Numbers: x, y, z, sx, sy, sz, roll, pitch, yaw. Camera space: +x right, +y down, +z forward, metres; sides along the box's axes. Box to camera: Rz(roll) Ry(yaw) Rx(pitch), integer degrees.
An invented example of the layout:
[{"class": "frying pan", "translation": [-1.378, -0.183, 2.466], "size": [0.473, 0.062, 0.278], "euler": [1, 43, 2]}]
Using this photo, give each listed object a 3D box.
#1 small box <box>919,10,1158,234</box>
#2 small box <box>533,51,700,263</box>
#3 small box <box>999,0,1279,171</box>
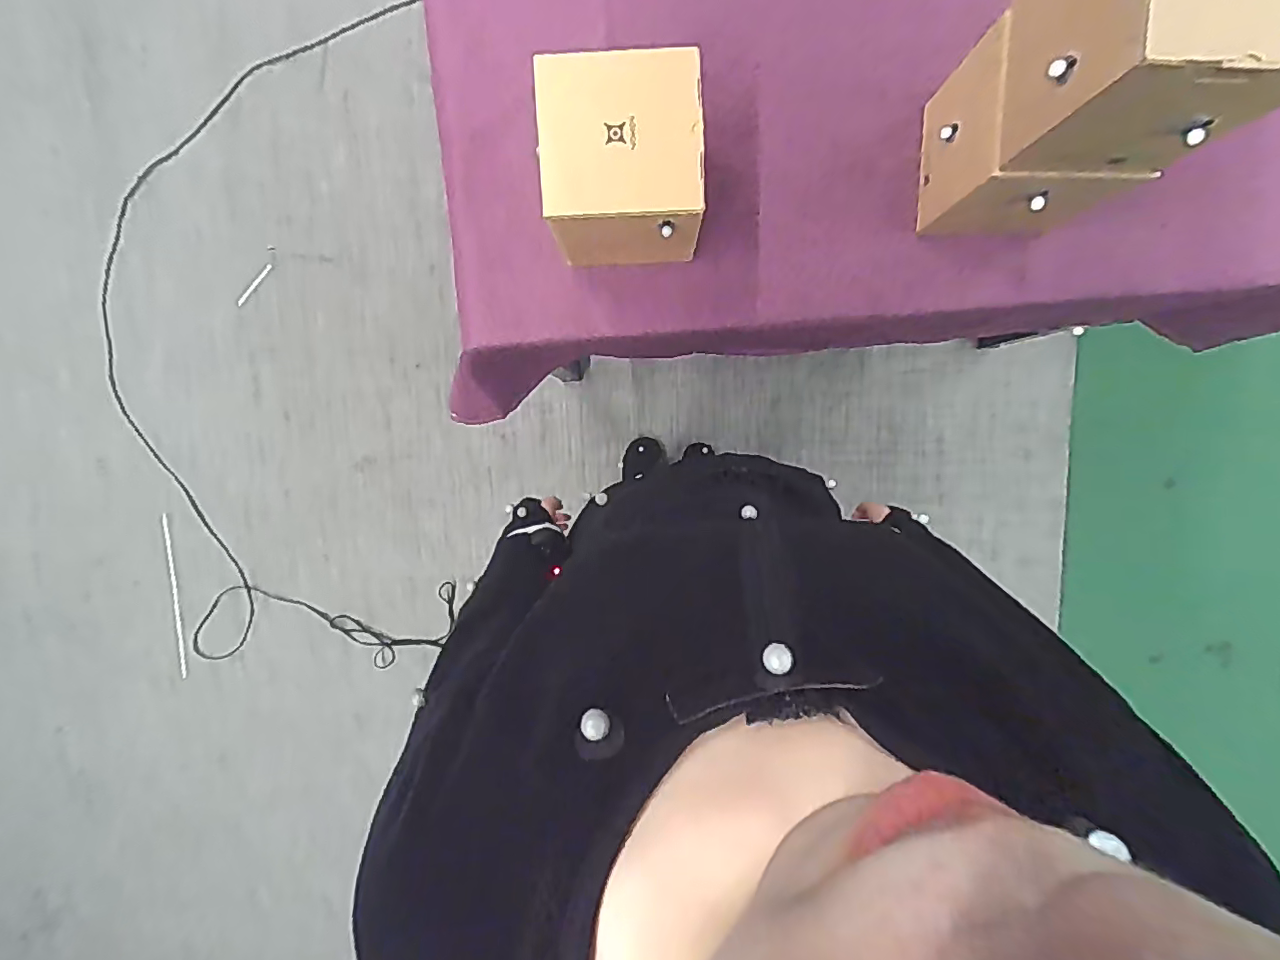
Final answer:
[{"class": "small box", "translation": [0.454, -0.403, 0.636], "size": [0.179, 0.176, 0.168], "euler": [2, 96, 2]}, {"class": "small box", "translation": [-0.022, -0.372, 0.655], "size": [0.179, 0.176, 0.168], "euler": [-3, 95, 1]}, {"class": "small box", "translation": [0.450, -0.398, 0.473], "size": [0.168, 0.176, 0.179], "euler": [2, 95, 1]}]
